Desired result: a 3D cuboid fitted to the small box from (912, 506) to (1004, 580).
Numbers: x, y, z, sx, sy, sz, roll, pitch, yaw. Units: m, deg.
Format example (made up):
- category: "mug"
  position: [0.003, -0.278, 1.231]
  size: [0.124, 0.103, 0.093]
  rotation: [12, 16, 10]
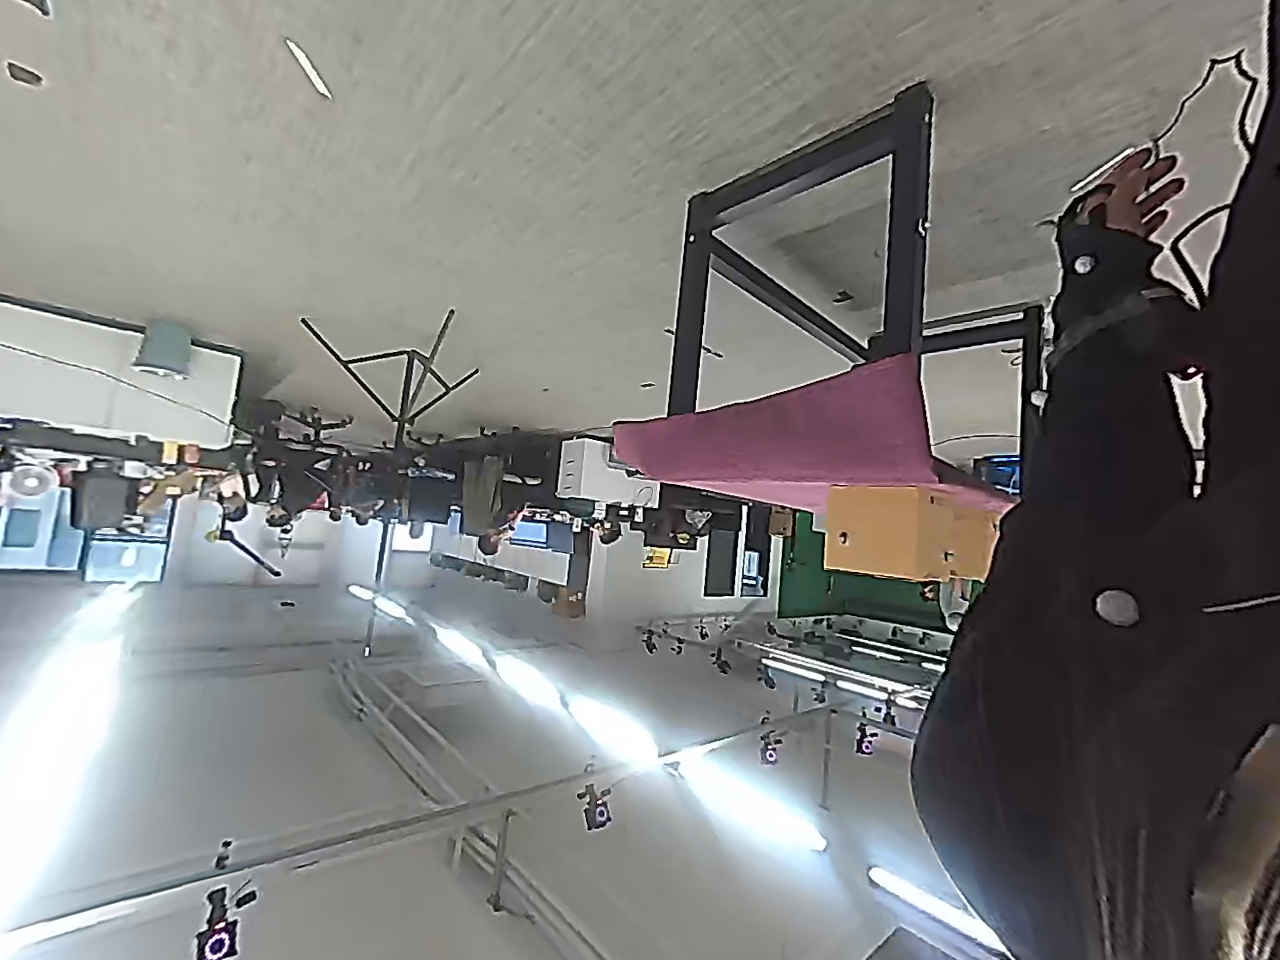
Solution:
- category: "small box"
  position: [0.802, 0.157, 1.362]
  size: [0.179, 0.176, 0.168]
  rotation: [11, 172, -44]
